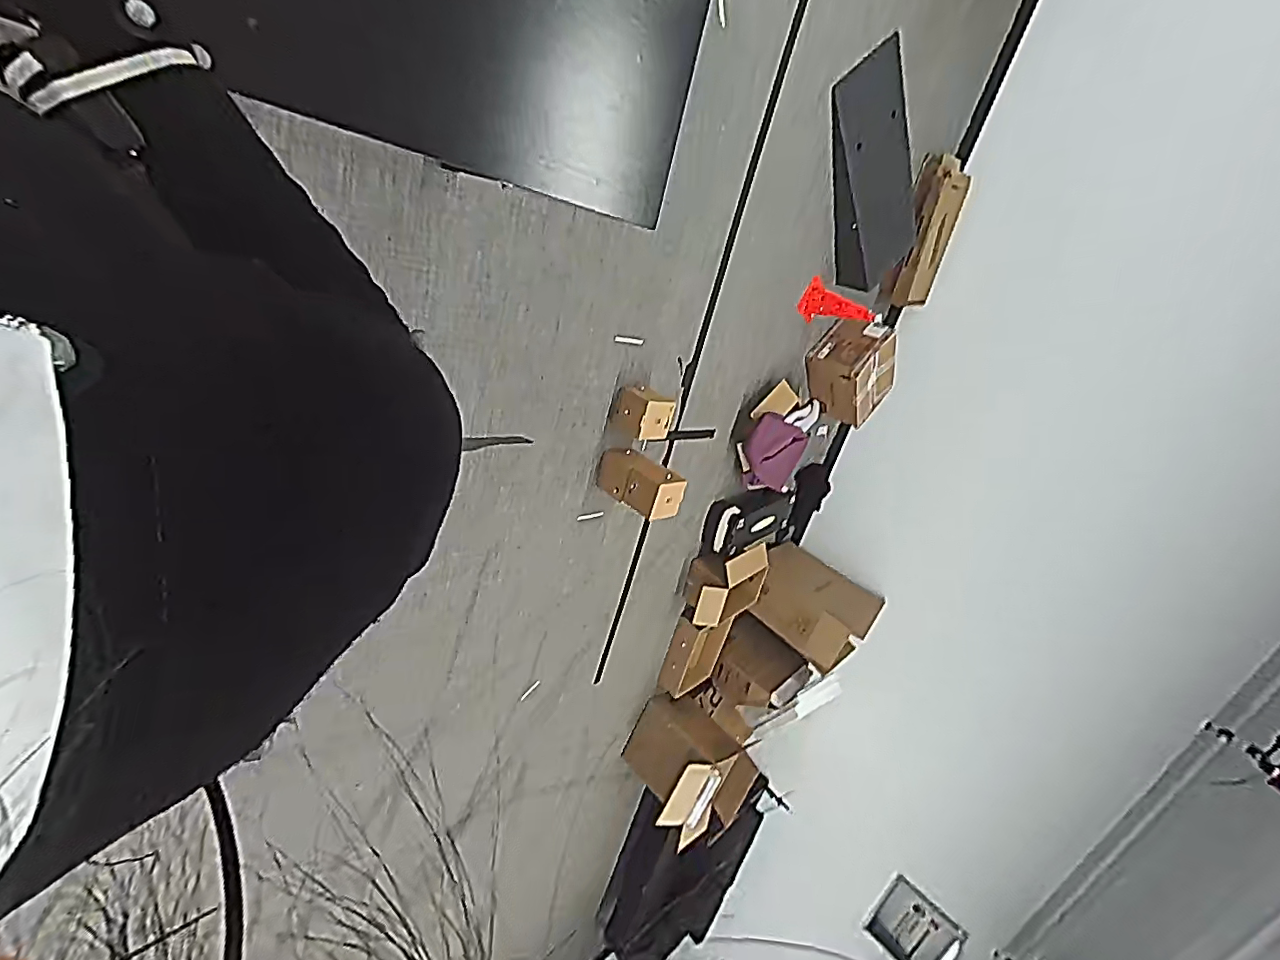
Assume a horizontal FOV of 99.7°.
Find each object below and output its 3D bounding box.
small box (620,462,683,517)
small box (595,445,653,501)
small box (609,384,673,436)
[{"bbox_3d":[0.045,0.034,2.250,0.179,0.176,0.168,-7,122,-45],"label":"small box"},{"bbox_3d":[-0.075,-0.034,2.337,0.168,0.176,0.179,-11,125,-46],"label":"small box"},{"bbox_3d":[-0.001,-0.289,2.224,0.179,0.176,0.168,-6,121,-47],"label":"small box"}]
